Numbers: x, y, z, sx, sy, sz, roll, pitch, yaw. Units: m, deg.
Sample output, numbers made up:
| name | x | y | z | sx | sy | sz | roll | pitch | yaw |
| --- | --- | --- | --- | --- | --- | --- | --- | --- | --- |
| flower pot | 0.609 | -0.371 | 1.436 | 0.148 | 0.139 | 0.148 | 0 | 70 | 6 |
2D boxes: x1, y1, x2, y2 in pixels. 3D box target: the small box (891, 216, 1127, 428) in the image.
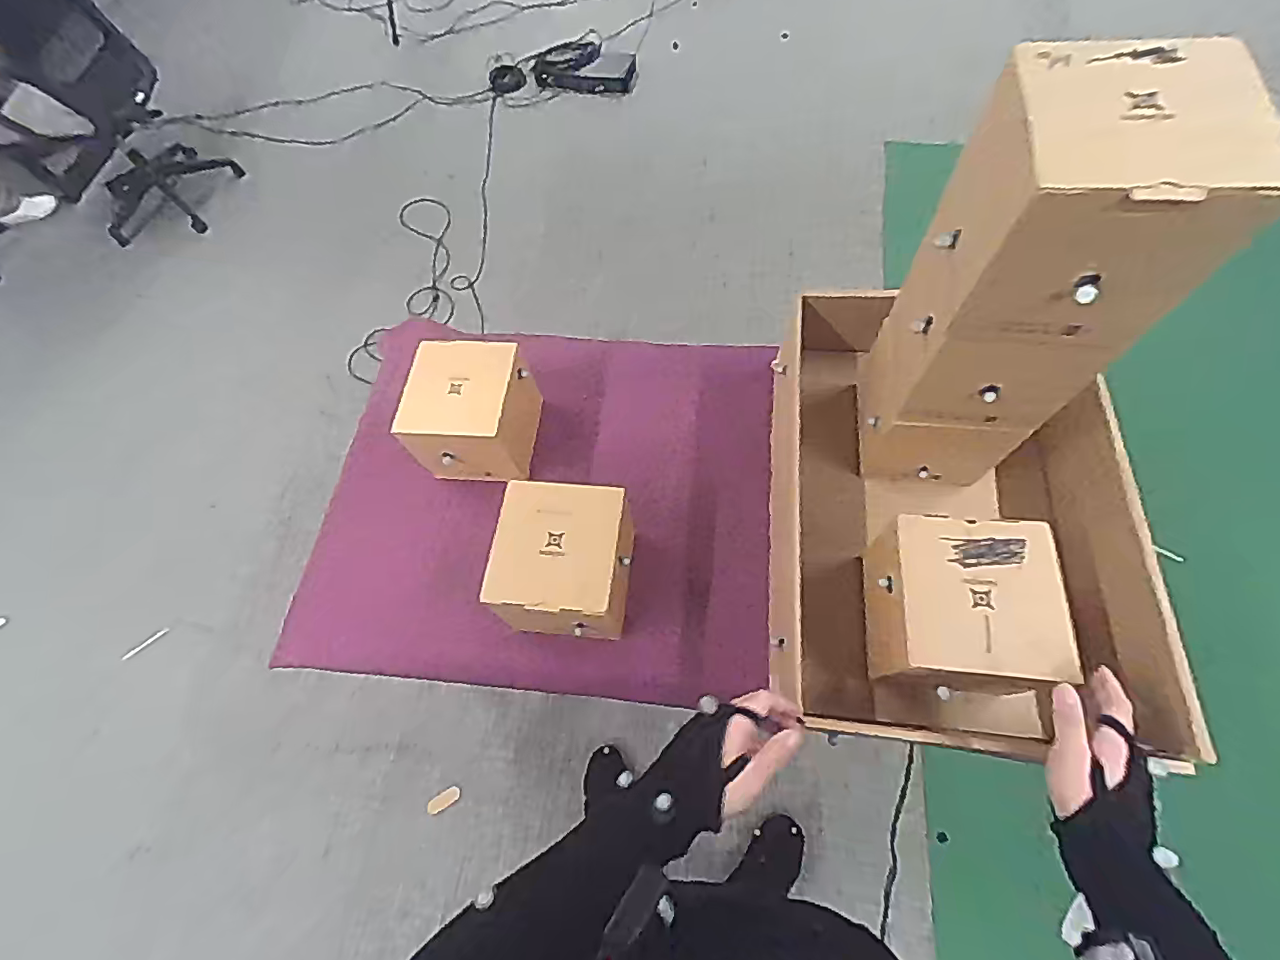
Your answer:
| name | x | y | z | sx | sy | sz | roll | pitch | yaw |
| --- | --- | --- | --- | --- | --- | --- | --- | --- | --- |
| small box | 0.405 | -0.177 | 0.630 | 0.168 | 0.176 | 0.179 | 6 | 66 | 9 |

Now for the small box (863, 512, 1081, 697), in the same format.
| name | x | y | z | sx | sy | sz | roll | pitch | yaw |
| --- | --- | --- | --- | --- | --- | --- | --- | --- | --- |
| small box | 0.378 | 0.156 | 0.656 | 0.168 | 0.176 | 0.179 | 3 | 65 | 9 |

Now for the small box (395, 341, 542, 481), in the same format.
| name | x | y | z | sx | sy | sz | roll | pitch | yaw |
| --- | --- | --- | --- | --- | --- | --- | --- | --- | --- |
| small box | -0.273 | -0.110 | 0.906 | 0.168 | 0.176 | 0.179 | 3 | 64 | 7 |

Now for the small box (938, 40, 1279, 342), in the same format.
| name | x | y | z | sx | sy | sz | roll | pitch | yaw |
| --- | --- | --- | --- | --- | --- | --- | --- | --- | --- |
| small box | 0.385 | -0.243 | 0.481 | 0.168 | 0.176 | 0.179 | 6 | 67 | 9 |

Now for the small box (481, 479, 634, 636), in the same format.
| name | x | y | z | sx | sy | sz | roll | pitch | yaw |
| --- | --- | --- | --- | --- | --- | --- | --- | --- | --- |
| small box | -0.104 | 0.118 | 0.777 | 0.168 | 0.176 | 0.179 | 5 | 63 | 7 |
